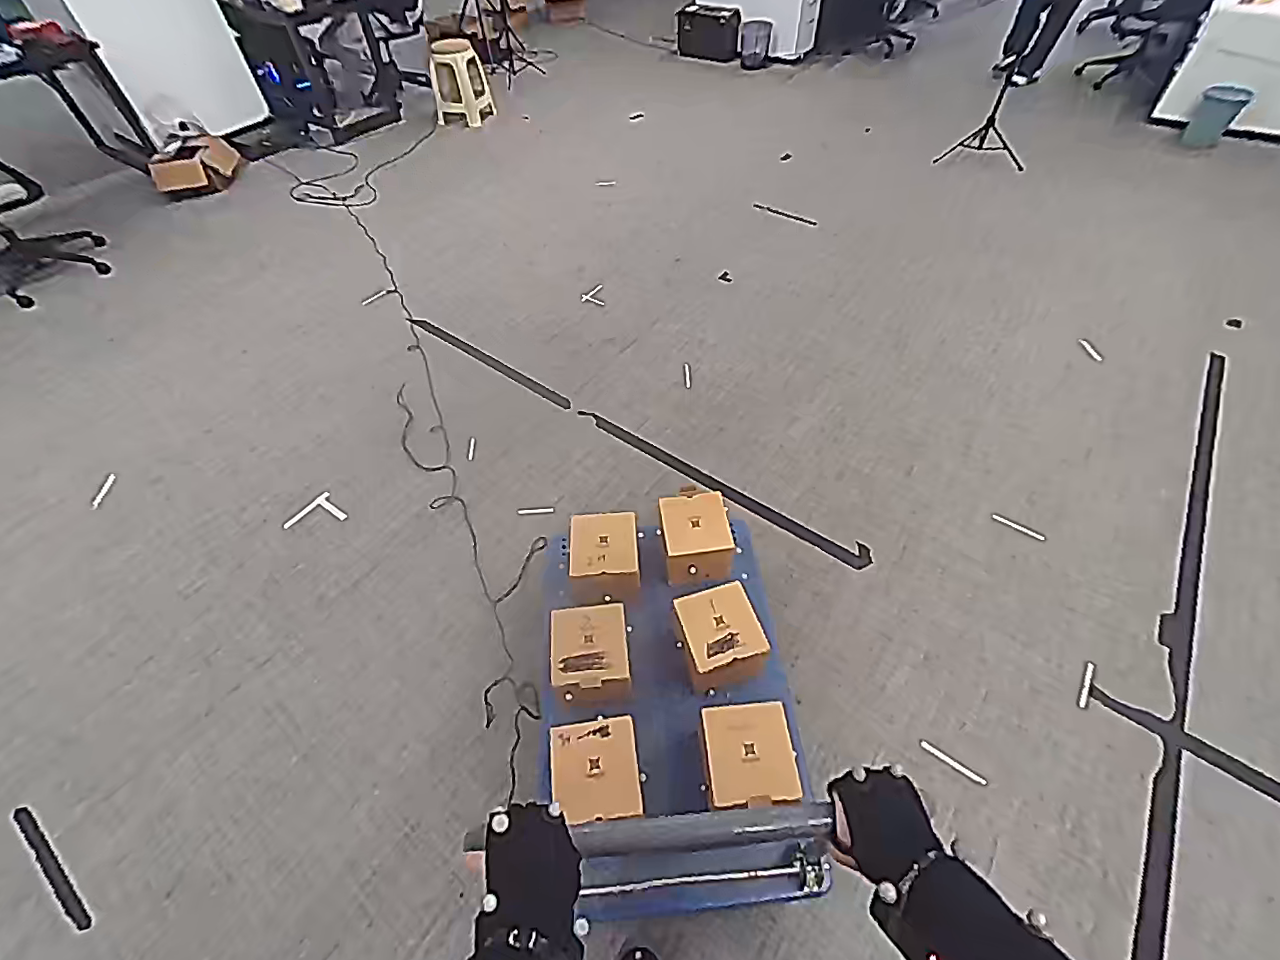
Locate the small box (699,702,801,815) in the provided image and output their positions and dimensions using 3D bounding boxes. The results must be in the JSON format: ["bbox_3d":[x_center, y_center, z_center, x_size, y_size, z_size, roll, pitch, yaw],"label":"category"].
[{"bbox_3d":[0.214,0.572,1.101,0.168,0.176,0.179,-4,51,-1],"label":"small box"}]

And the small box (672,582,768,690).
[{"bbox_3d":[0.179,0.371,1.259,0.168,0.176,0.179,-14,52,-9],"label":"small box"}]

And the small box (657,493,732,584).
[{"bbox_3d":[0.140,0.160,1.427,0.168,0.176,0.179,-7,52,-3],"label":"small box"}]

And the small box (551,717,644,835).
[{"bbox_3d":[-0.083,0.601,1.089,0.168,0.176,0.179,-7,52,-4],"label":"small box"}]

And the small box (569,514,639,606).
[{"bbox_3d":[-0.088,0.208,1.398,0.168,0.176,0.179,-4,53,0],"label":"small box"}]
